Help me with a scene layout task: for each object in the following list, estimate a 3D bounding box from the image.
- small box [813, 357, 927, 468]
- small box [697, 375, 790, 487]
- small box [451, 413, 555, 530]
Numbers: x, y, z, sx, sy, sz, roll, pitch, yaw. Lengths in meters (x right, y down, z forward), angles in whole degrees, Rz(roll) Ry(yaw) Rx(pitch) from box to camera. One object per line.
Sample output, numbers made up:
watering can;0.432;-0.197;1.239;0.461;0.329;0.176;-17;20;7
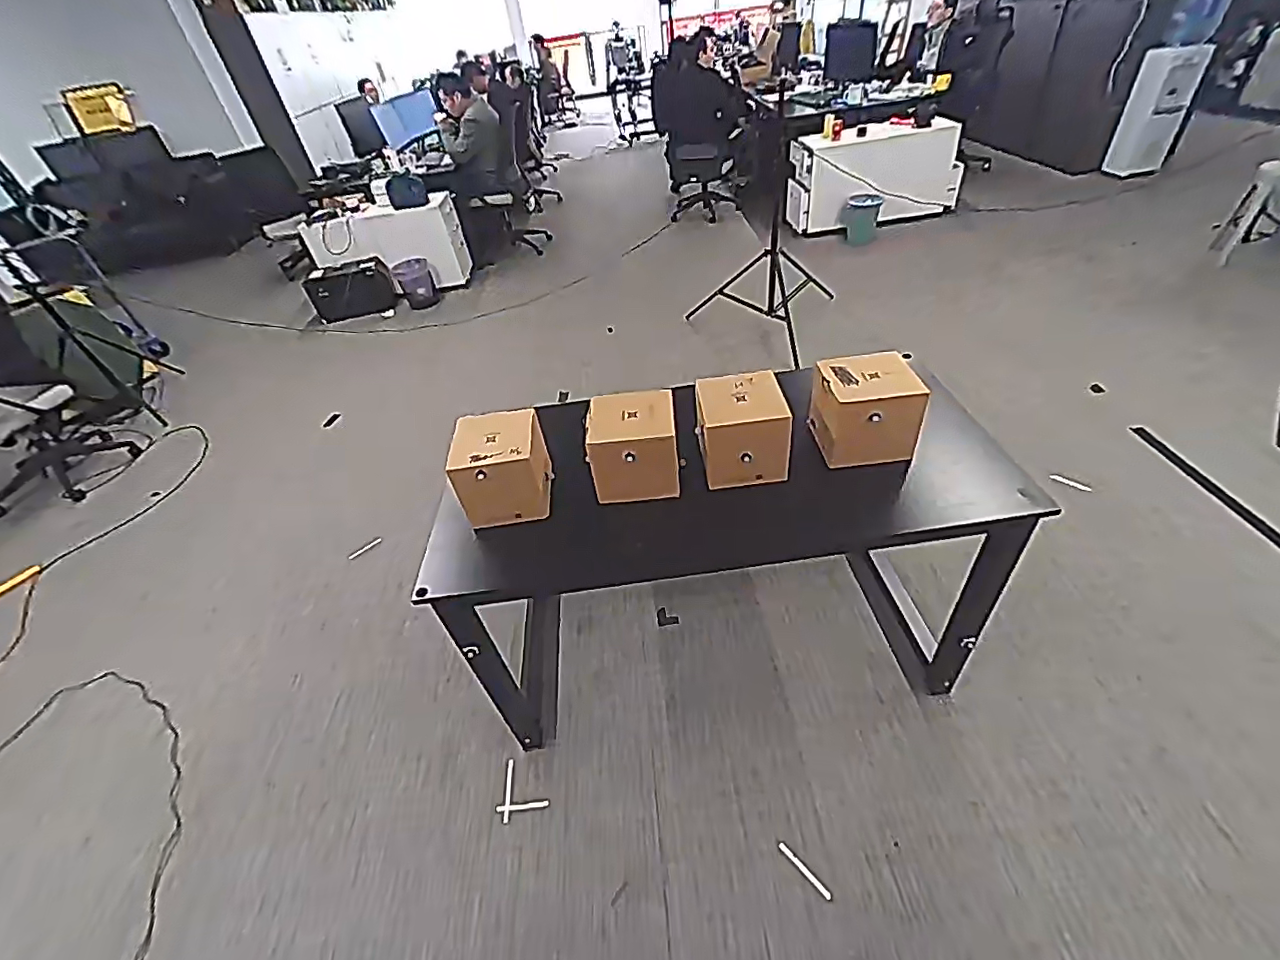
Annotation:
small box;0.474;-0.140;1.150;0.179;0.176;0.168;-6;41;3
small box;0.217;-0.098;1.153;0.168;0.176;0.179;-7;41;2
small box;-0.282;-0.018;1.156;0.168;0.176;0.179;-9;41;1
